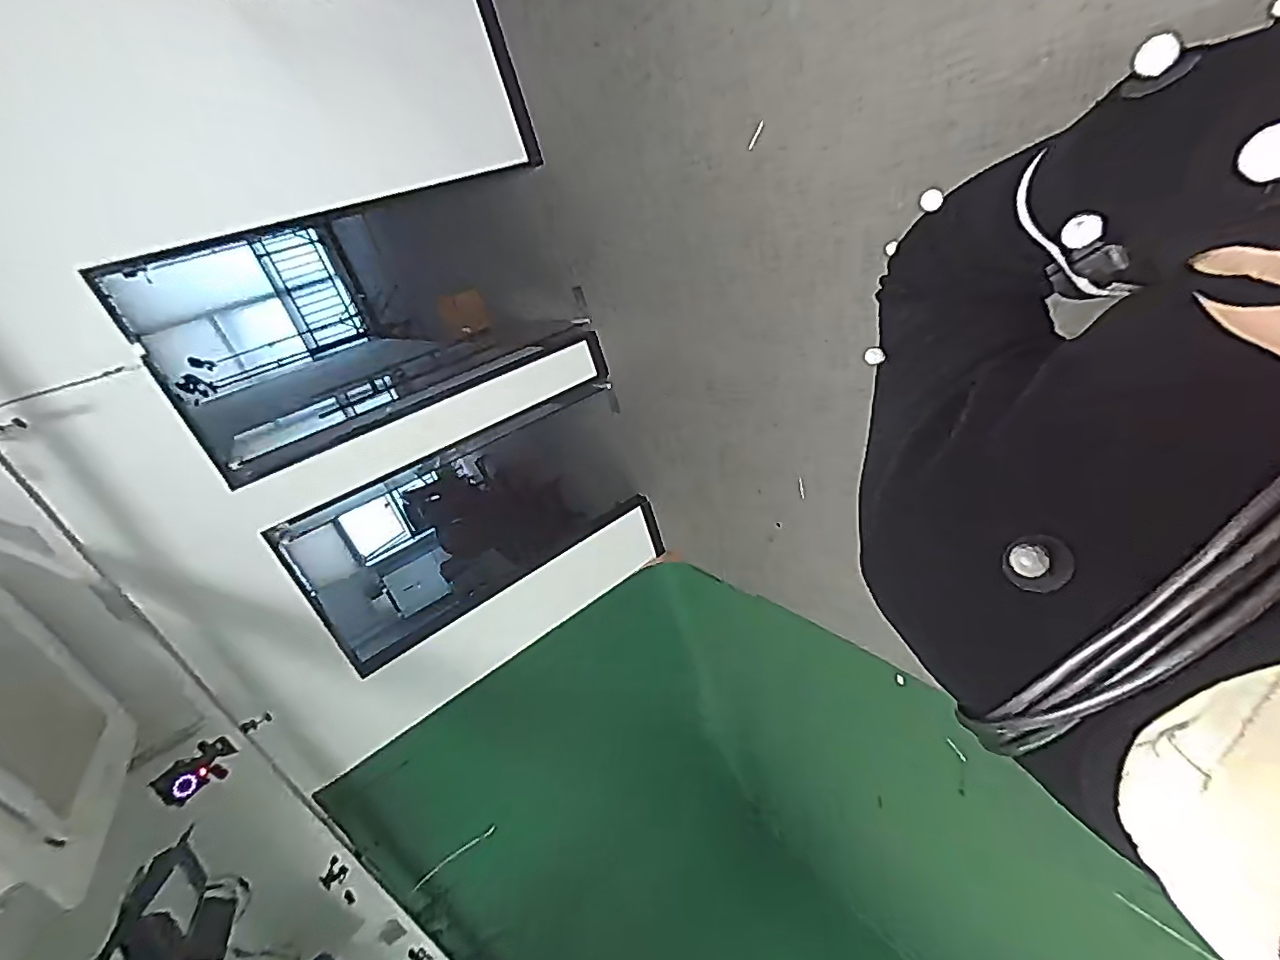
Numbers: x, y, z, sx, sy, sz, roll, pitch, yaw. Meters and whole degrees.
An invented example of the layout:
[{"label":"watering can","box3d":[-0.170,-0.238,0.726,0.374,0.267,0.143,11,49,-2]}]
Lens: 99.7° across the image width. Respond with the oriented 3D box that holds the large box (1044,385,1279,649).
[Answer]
[{"label":"large box","box3d":[1.092,0.050,1.123,0.320,0.320,0.408,22,136,51]}]
